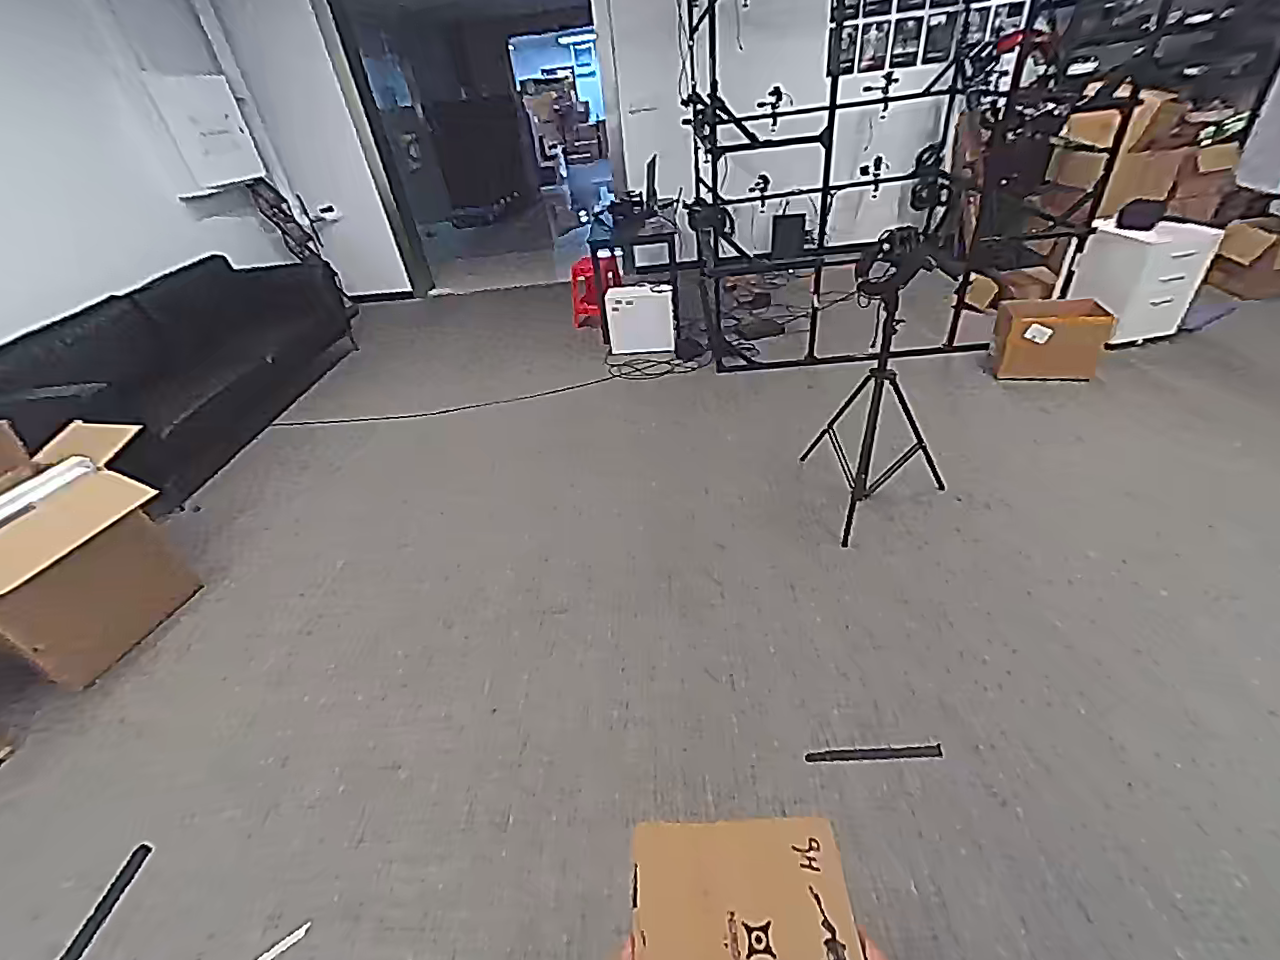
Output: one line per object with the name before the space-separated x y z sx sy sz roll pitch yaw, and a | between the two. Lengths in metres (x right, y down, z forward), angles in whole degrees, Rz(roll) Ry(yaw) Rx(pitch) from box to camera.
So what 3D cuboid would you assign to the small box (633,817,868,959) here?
small box | 0.085 0.412 0.463 0.179 0.176 0.168 -1 40 -1
